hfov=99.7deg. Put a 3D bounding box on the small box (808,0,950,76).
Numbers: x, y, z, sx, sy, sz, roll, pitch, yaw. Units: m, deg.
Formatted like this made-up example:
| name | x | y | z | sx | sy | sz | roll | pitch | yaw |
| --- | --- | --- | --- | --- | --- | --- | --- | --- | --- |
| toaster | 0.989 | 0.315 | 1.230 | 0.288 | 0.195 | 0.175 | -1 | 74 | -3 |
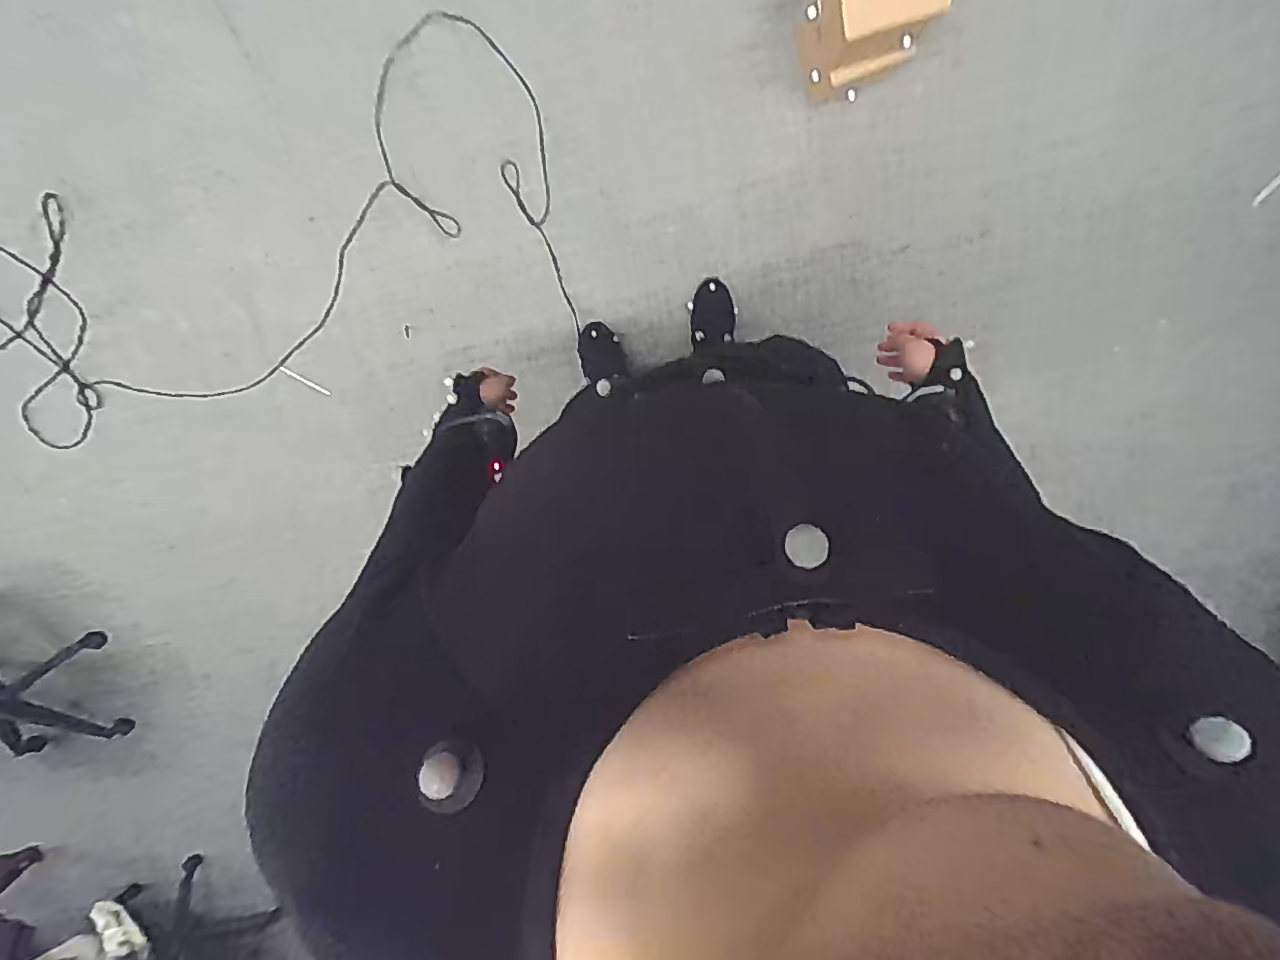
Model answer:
| name | x | y | z | sx | sy | sz | roll | pitch | yaw |
| --- | --- | --- | --- | --- | --- | --- | --- | --- | --- |
| small box | 0.412 | -0.855 | 0.952 | 0.179 | 0.176 | 0.168 | -13 | 108 | 7 |
